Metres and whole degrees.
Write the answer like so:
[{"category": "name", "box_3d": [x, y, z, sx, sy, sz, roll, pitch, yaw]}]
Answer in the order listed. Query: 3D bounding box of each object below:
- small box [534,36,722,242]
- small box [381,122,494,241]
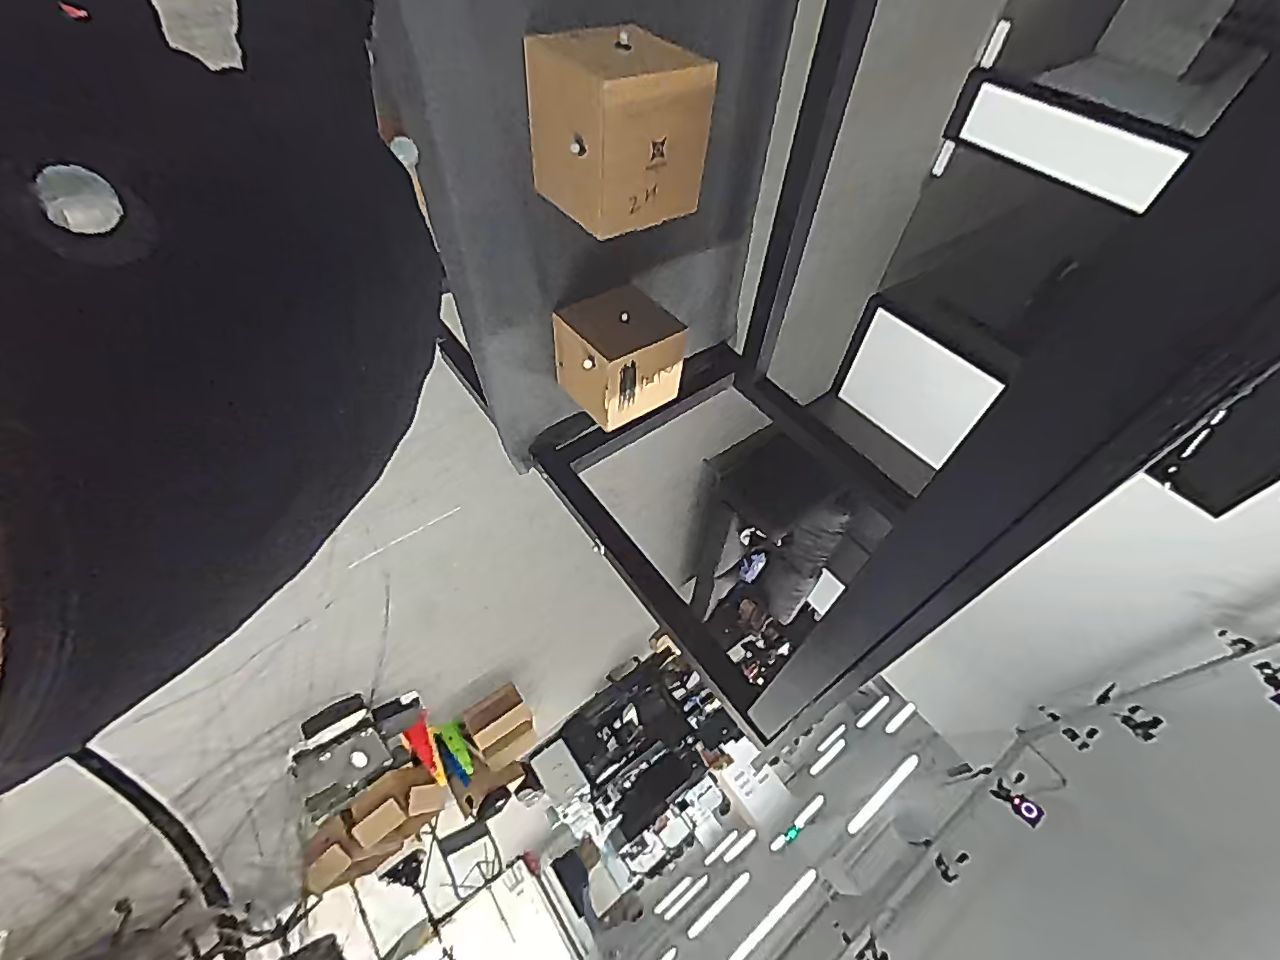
[{"category": "small box", "box_3d": [-0.023, -0.442, 0.694, 0.168, 0.176, 0.179, -28, 149, -25]}, {"category": "small box", "box_3d": [-0.447, -0.659, 1.190, 0.179, 0.176, 0.168, -28, 150, -25]}]
